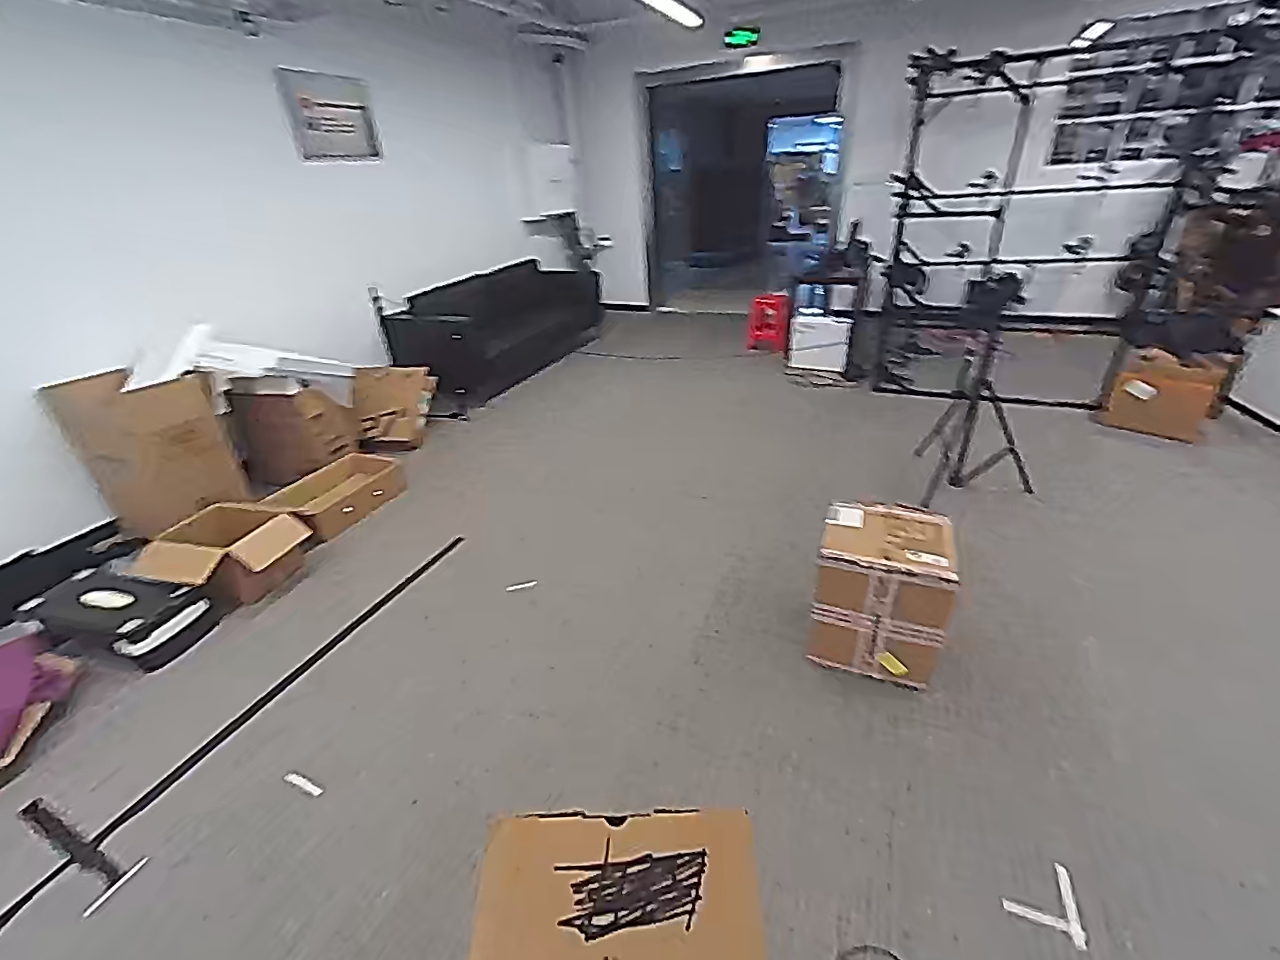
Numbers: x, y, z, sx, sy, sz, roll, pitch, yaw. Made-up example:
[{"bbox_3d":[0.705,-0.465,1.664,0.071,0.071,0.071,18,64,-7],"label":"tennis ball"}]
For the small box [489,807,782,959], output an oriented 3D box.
[{"bbox_3d":[0.005,0.330,0.344,0.168,0.176,0.179,-5,46,6],"label":"small box"}]
